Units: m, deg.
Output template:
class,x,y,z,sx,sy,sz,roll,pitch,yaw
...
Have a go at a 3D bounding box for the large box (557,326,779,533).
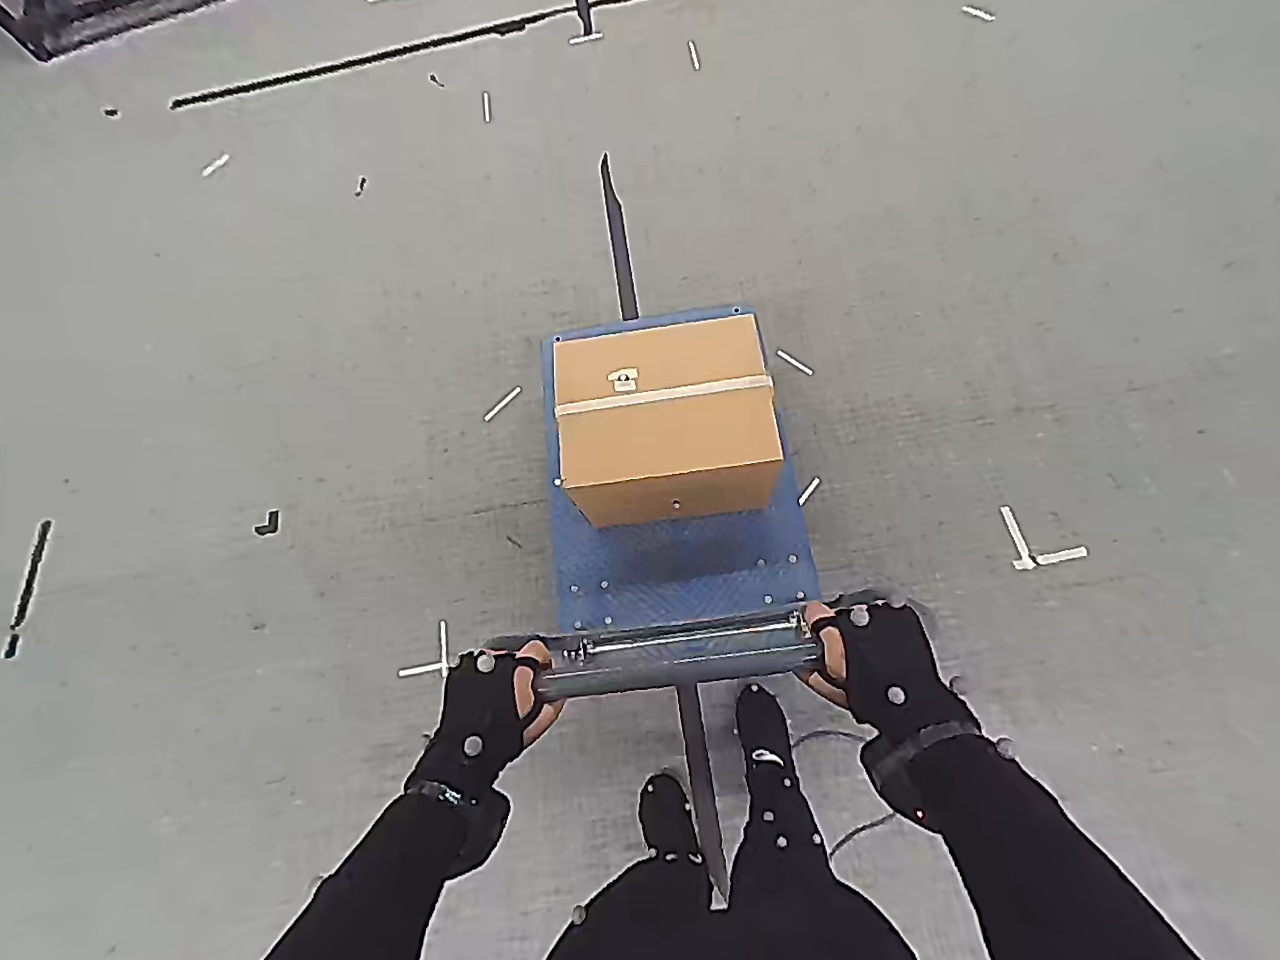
class,x,y,z,sx,sy,sz,roll,pitch,yaw
large box,0.060,-0.089,1.186,0.408,0.320,0.320,-9,69,5
